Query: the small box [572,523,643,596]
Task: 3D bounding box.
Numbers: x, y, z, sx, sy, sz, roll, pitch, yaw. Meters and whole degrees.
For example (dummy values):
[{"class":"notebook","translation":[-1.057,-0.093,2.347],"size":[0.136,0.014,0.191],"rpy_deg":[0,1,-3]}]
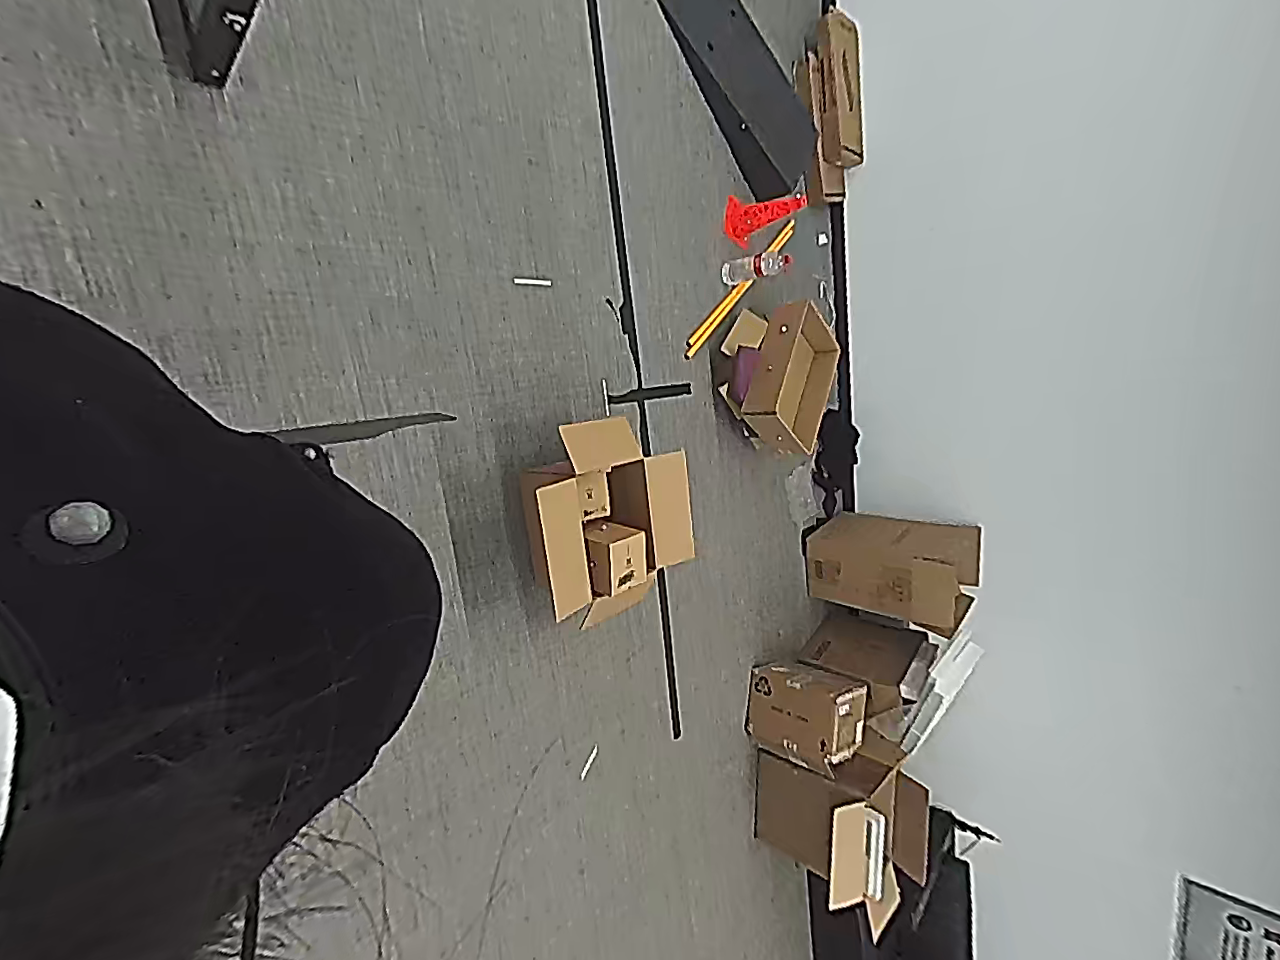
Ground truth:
[{"class":"small box","translation":[-0.106,0.254,1.767],"size":[0.168,0.176,0.179],"rpy_deg":[-15,107,-46]}]
